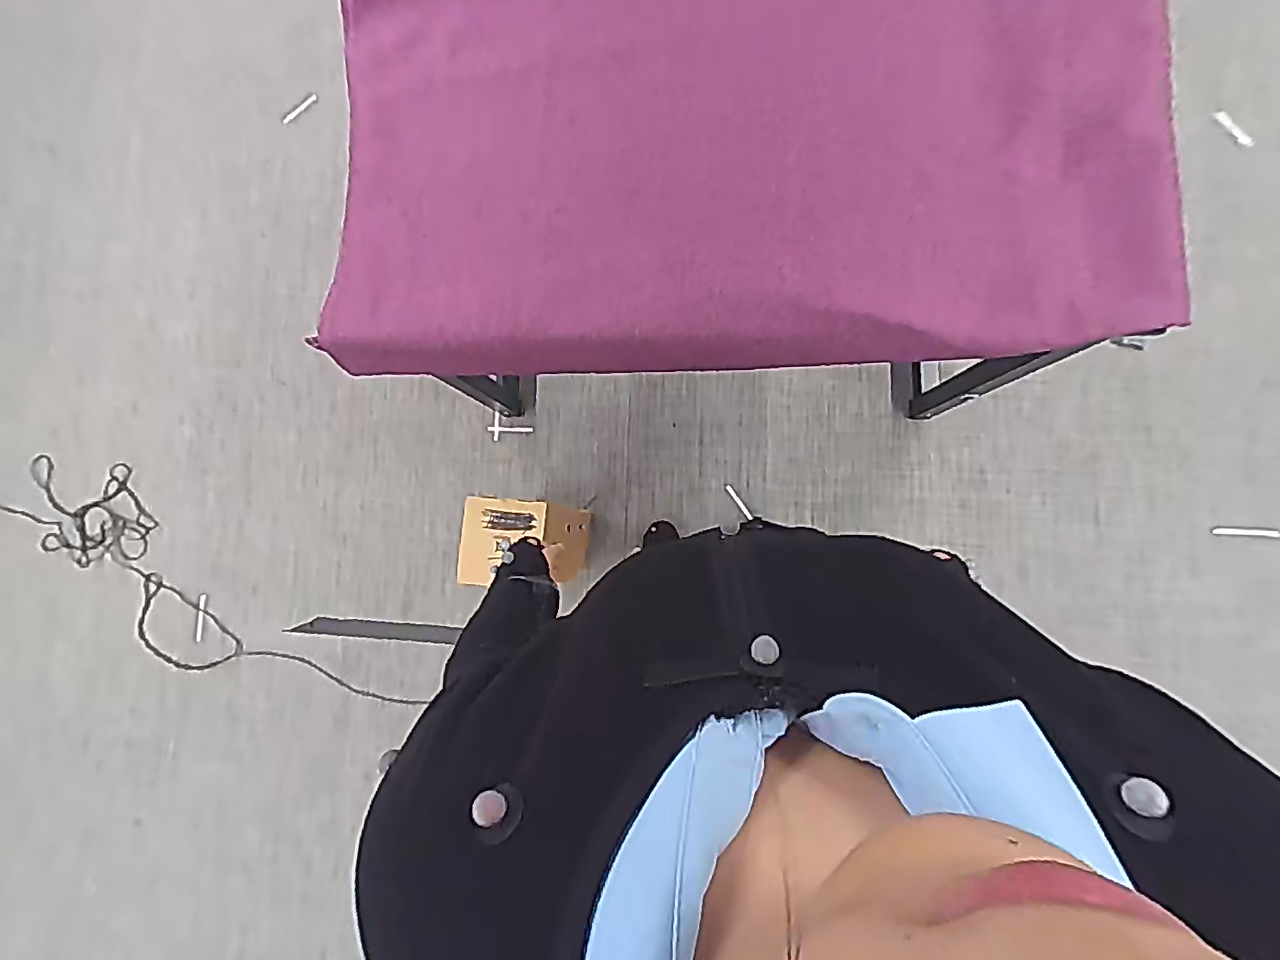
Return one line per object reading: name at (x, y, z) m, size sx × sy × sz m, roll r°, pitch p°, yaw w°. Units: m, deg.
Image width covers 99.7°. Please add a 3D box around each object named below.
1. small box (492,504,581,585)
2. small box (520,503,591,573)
small box at (-0.240, 0.151, 1.294) m, size 0.168 × 0.176 × 0.179 m, roll 3°, pitch 86°, yaw 5°
small box at (-0.233, 0.161, 1.458) m, size 0.168 × 0.176 × 0.179 m, roll 8°, pitch 86°, yaw 5°
